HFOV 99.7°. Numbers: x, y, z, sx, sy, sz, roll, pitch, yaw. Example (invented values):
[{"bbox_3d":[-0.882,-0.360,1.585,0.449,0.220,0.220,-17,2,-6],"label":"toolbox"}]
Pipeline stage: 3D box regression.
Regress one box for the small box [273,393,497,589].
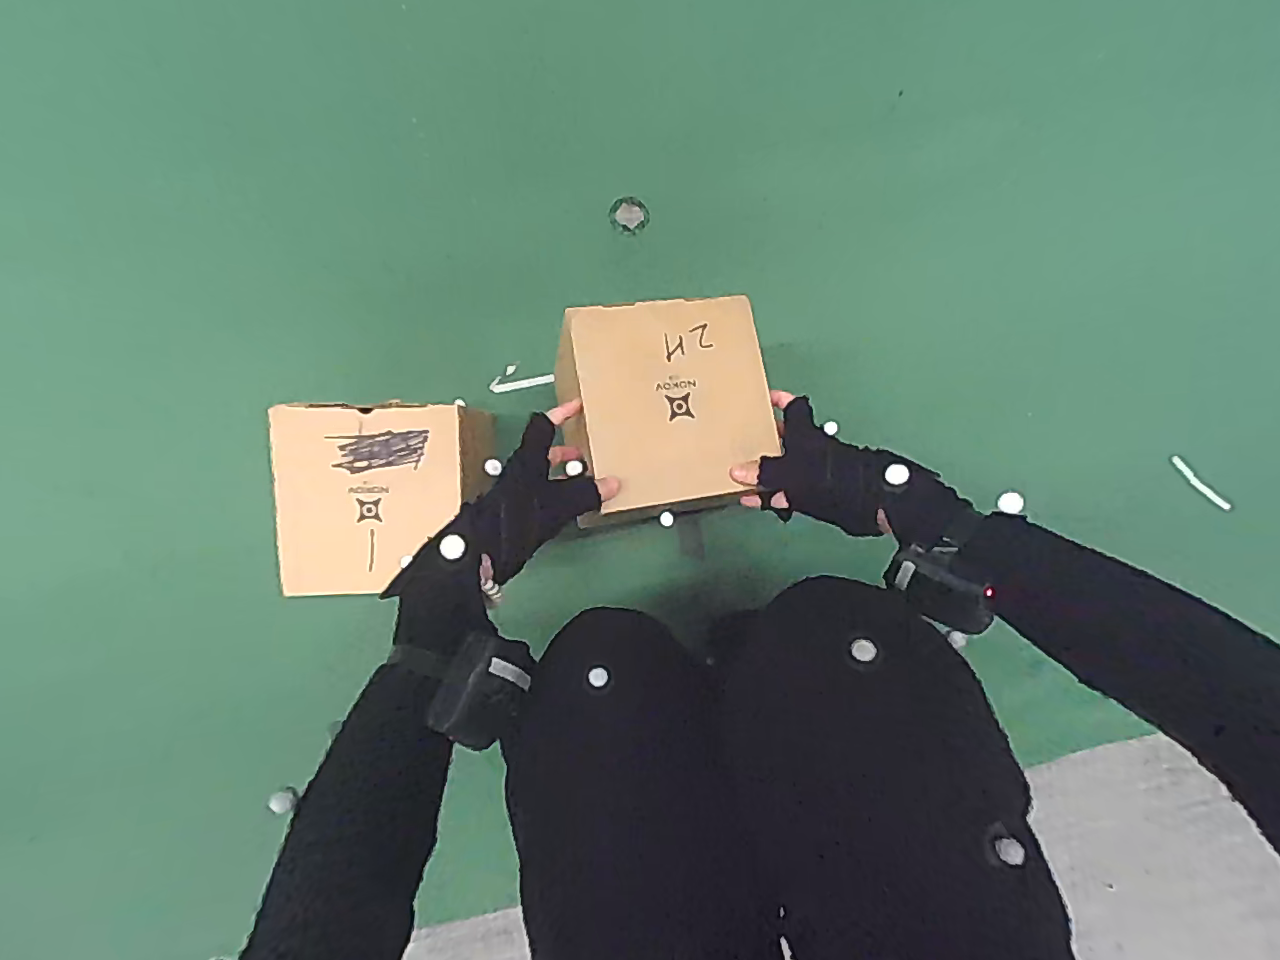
[{"bbox_3d":[-0.247,0.006,0.563,0.168,0.176,0.179,0,95,-5],"label":"small box"}]
